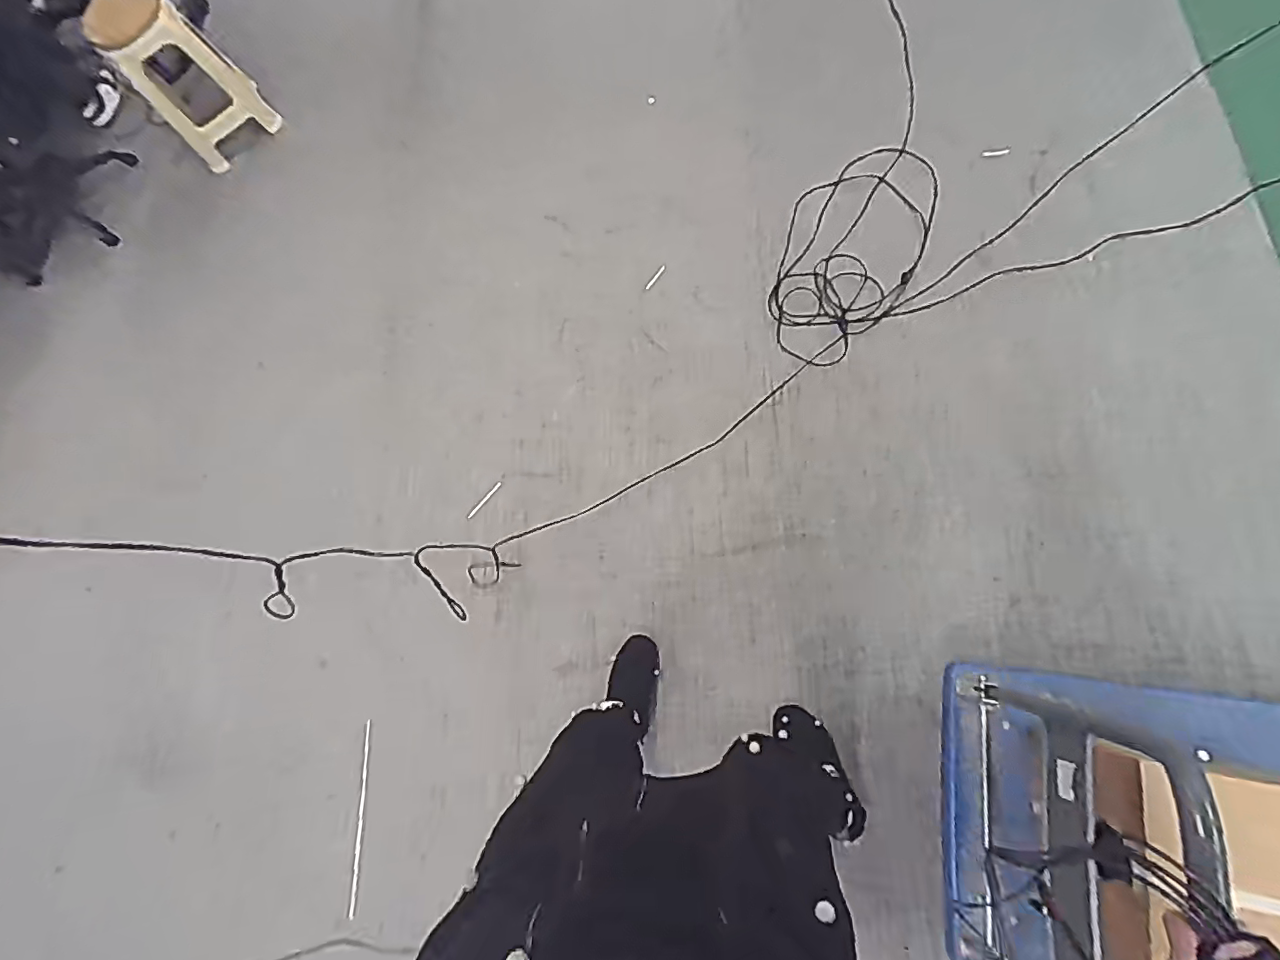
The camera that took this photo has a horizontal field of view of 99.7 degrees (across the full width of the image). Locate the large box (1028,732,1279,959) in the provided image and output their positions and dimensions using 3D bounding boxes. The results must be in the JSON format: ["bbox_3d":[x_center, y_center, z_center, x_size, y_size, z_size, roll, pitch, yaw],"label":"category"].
[{"bbox_3d":[0.935,0.633,0.885,0.408,0.320,0.320,7,77,11],"label":"large box"}]
